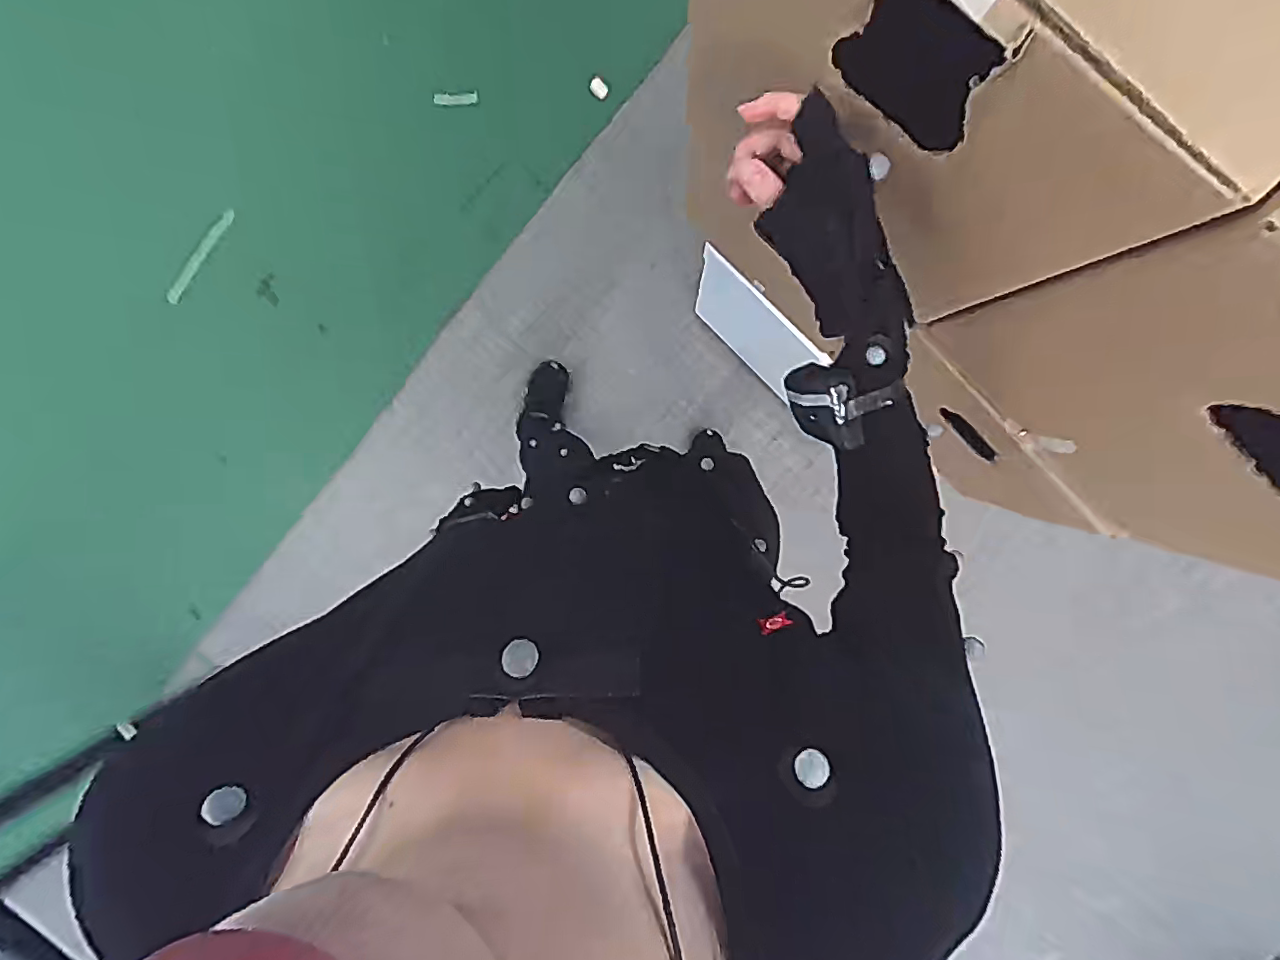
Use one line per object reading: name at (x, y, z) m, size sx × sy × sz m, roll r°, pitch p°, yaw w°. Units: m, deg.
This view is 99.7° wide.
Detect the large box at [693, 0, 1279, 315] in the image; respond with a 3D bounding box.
large box at (0.276, -0.388, 0.357) m, size 0.320 × 0.320 × 0.408 m, roll 39°, pitch 96°, yaw -2°
